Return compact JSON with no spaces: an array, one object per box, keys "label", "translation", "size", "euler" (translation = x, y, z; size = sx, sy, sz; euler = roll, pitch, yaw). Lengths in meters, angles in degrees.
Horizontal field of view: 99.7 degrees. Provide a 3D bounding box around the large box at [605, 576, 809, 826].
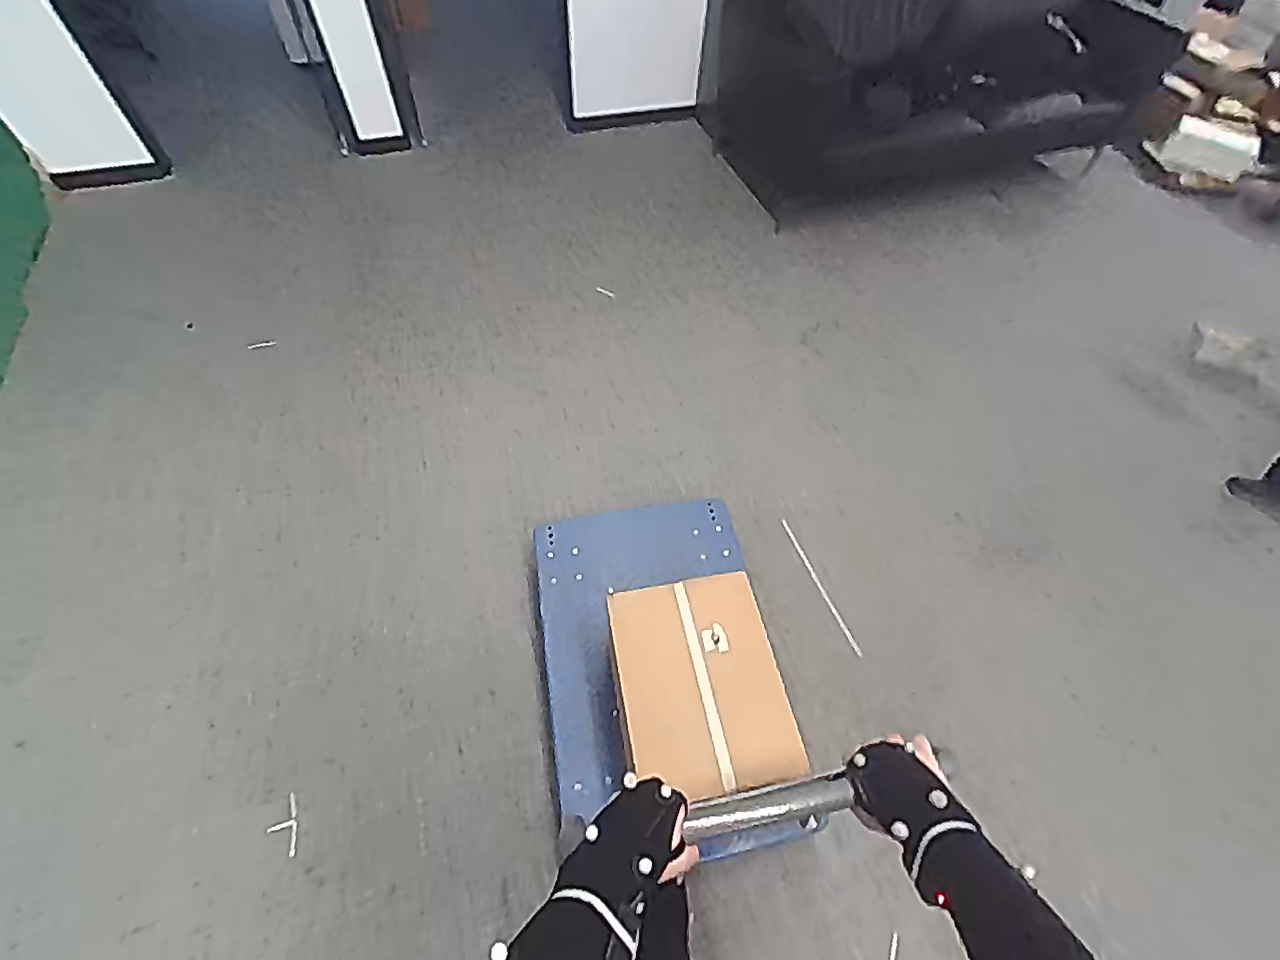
[{"label":"large box","translation":[0.111,0.478,1.177],"size":[0.320,0.320,0.408],"euler":[-8,55,-9]}]
